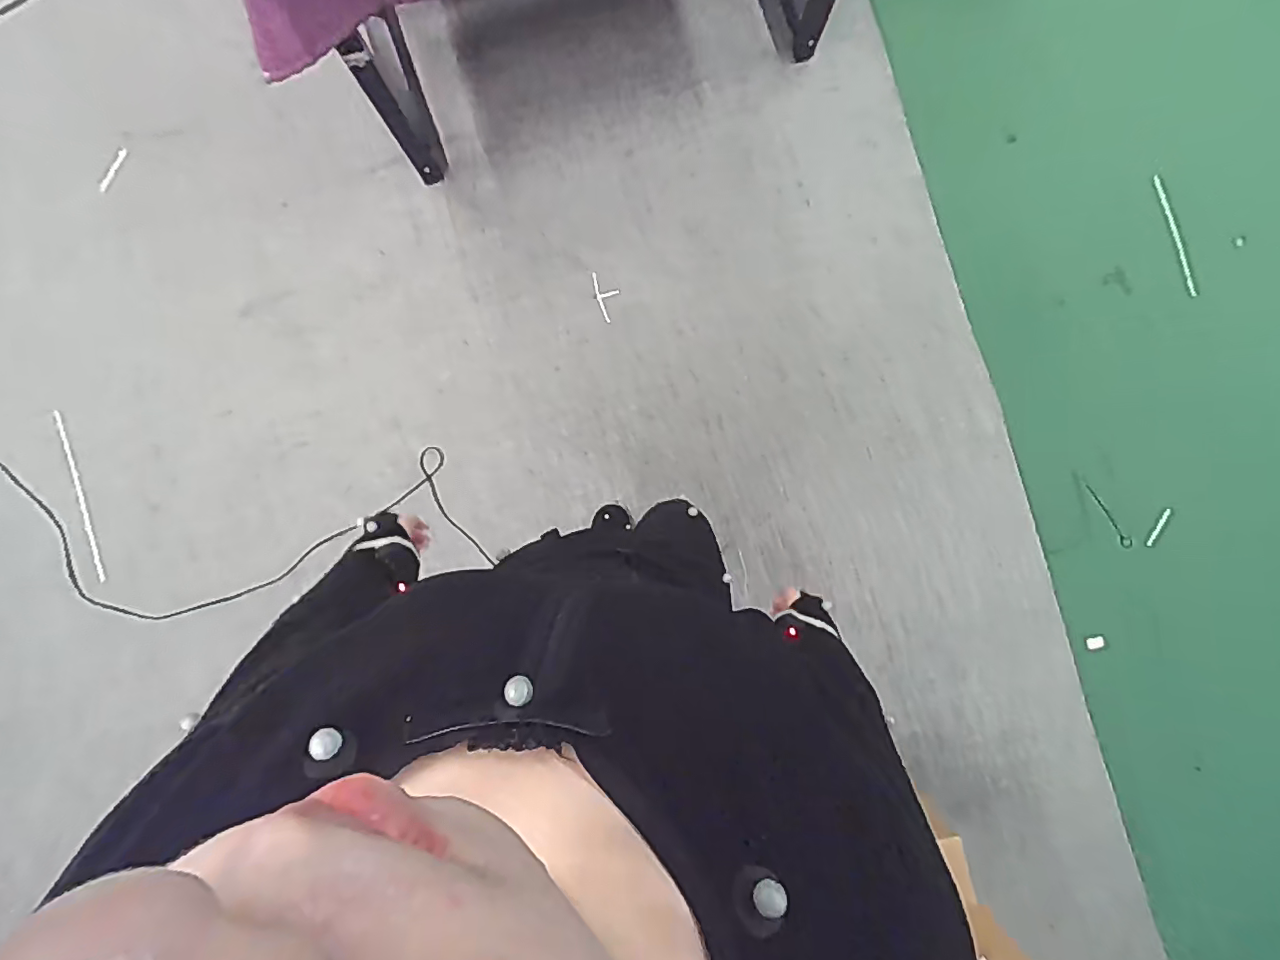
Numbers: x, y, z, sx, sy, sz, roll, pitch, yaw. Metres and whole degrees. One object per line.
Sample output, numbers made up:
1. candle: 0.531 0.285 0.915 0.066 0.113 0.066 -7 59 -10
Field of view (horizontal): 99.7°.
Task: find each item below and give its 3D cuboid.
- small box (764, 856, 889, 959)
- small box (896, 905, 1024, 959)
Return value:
1. small box: 0.325 0.807 0.943 0.168 0.176 0.179 -9 89 -1
2. small box: 0.571 0.895 0.942 0.179 0.176 0.168 -11 89 -1
